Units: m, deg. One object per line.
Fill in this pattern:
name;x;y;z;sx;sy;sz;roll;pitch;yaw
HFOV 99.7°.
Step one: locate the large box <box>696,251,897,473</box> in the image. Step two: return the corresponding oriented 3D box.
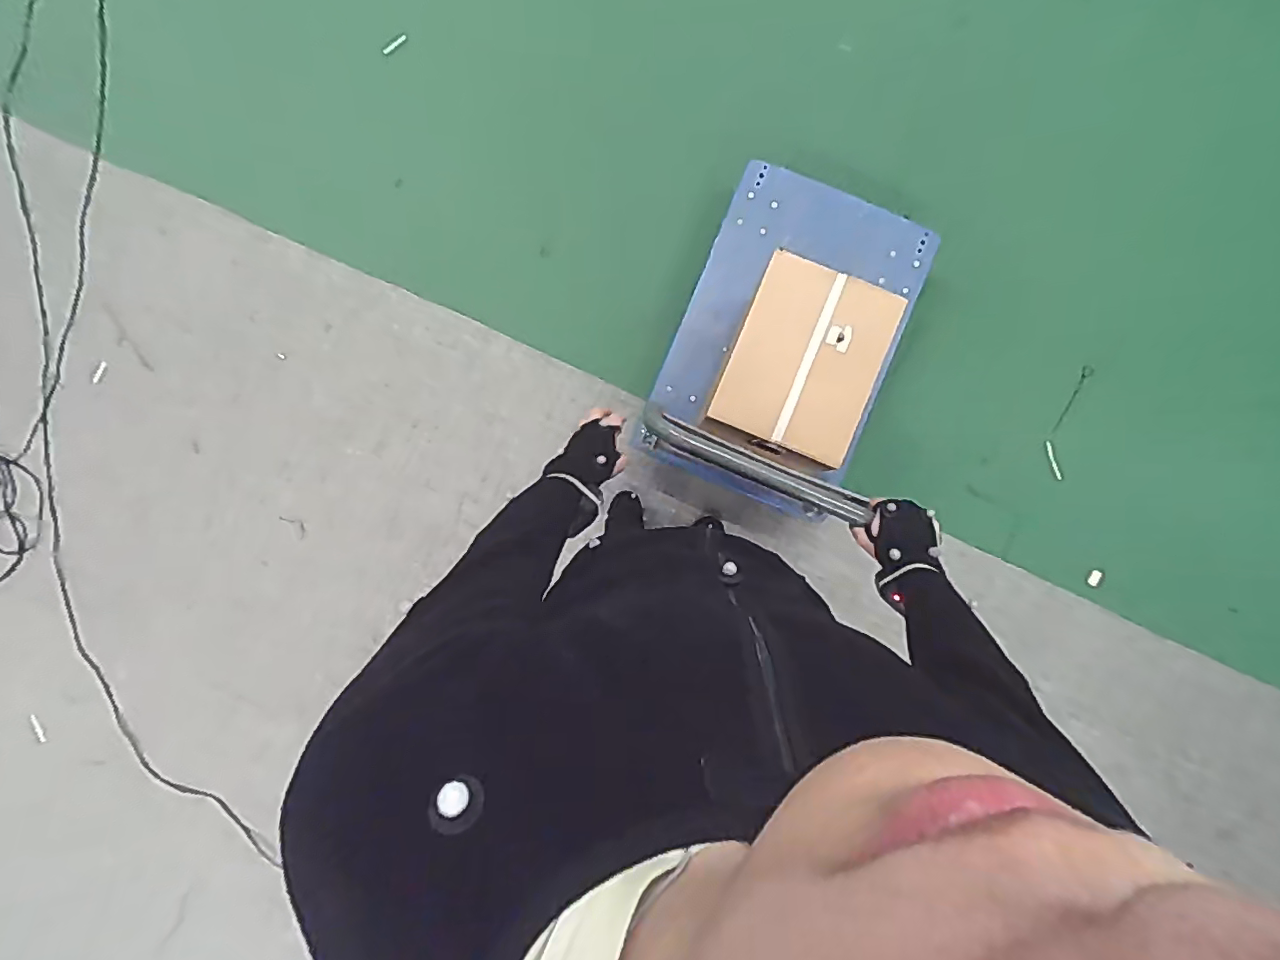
large box;0.357;-0.262;1.333;0.320;0.320;0.408;23;88;1
